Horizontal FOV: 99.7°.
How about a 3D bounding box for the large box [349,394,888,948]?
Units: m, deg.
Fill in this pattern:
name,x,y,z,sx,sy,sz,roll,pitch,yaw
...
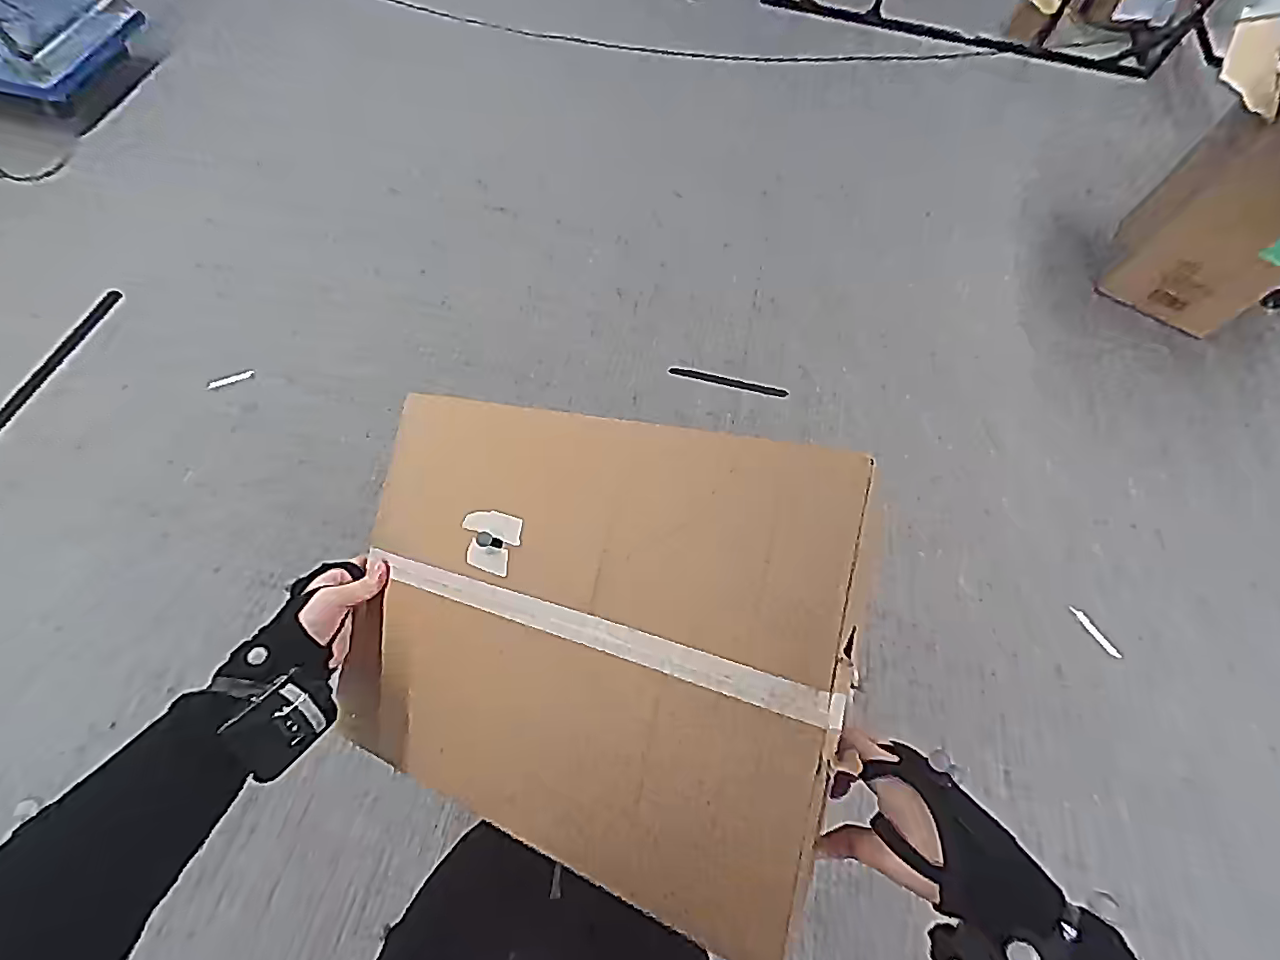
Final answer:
name,x,y,z,sx,sy,sz,roll,pitch,yaw
large box,0.007,0.118,0.539,0.408,0.320,0.320,10,85,27
